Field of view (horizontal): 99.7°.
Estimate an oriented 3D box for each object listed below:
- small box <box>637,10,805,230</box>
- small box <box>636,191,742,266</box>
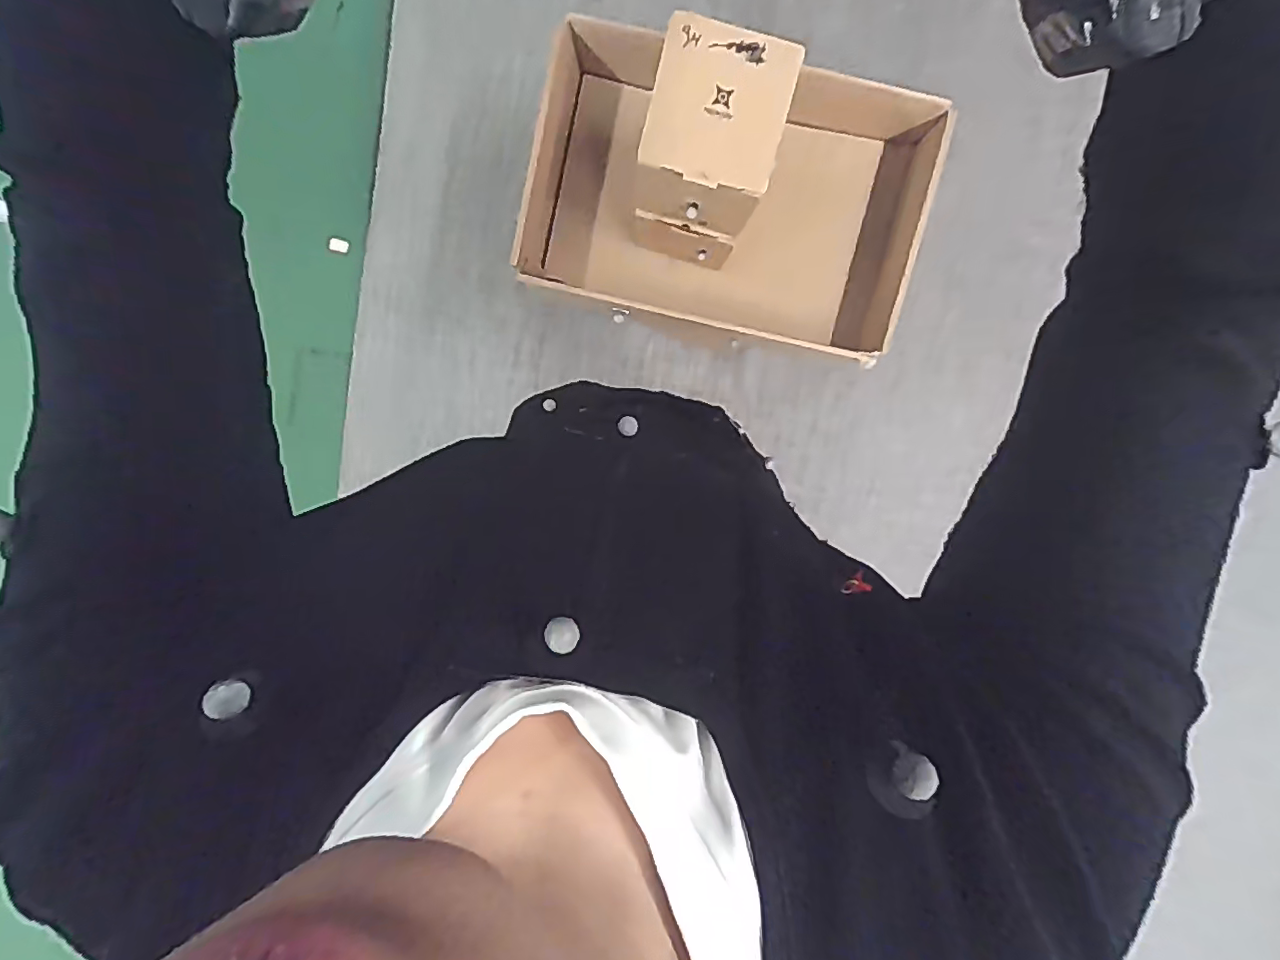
[{"bbox_3d":[0.098,-0.463,0.729,0.168,0.176,0.179,15,99,-2],"label":"small box"},{"bbox_3d":[0.096,-0.476,0.893,0.168,0.176,0.179,15,96,-2],"label":"small box"}]
